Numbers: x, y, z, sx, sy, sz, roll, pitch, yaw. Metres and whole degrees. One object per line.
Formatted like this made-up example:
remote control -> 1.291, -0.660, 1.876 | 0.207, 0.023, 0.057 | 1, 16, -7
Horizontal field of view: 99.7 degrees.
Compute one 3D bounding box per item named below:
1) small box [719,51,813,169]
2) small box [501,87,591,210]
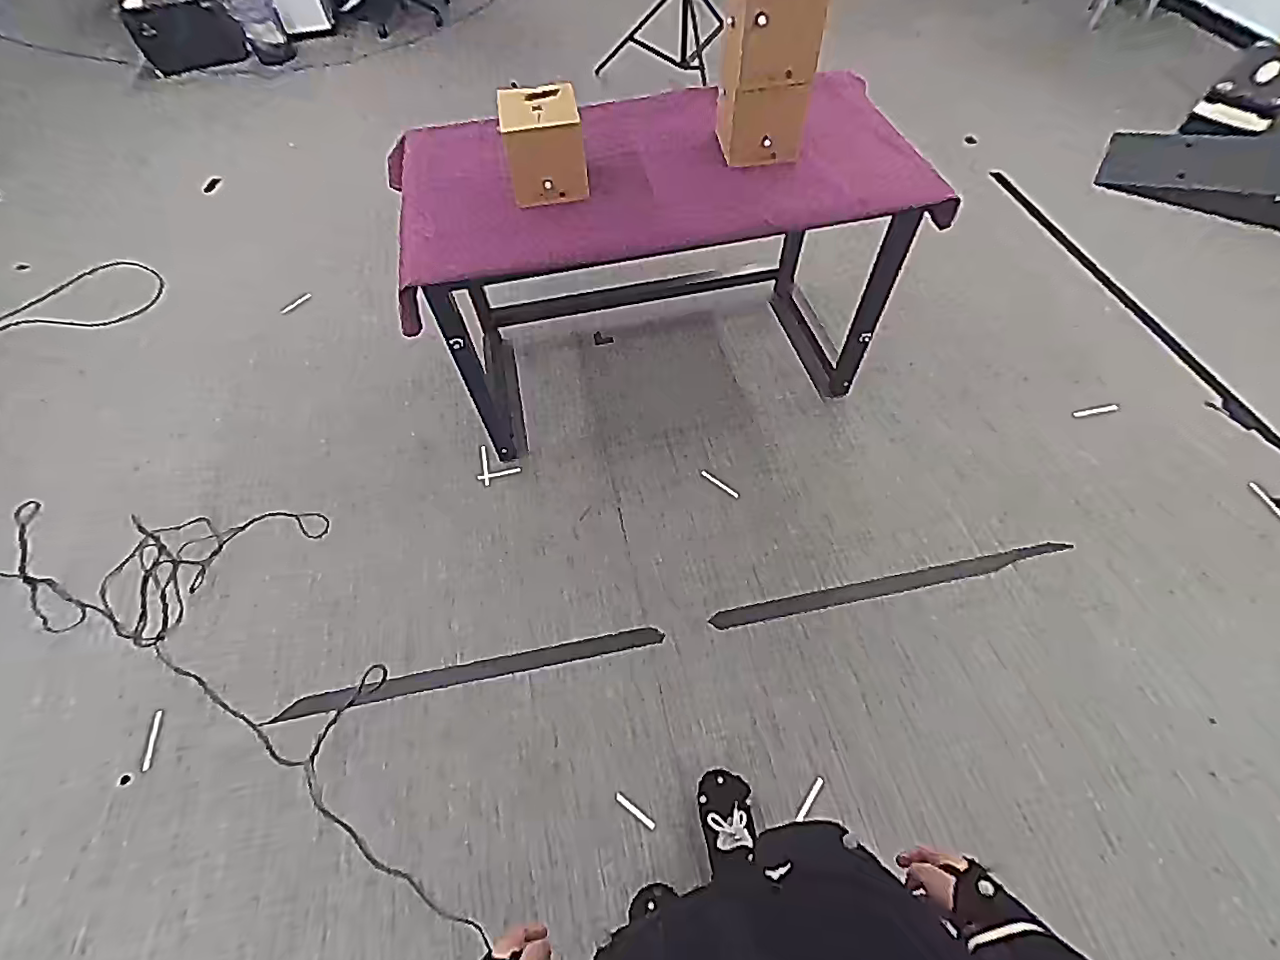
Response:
small box -> 0.283, -0.856, 1.257 | 0.168, 0.176, 0.179 | -7, 58, 0
small box -> -0.208, -0.737, 1.207 | 0.168, 0.176, 0.179 | -10, 59, -3
